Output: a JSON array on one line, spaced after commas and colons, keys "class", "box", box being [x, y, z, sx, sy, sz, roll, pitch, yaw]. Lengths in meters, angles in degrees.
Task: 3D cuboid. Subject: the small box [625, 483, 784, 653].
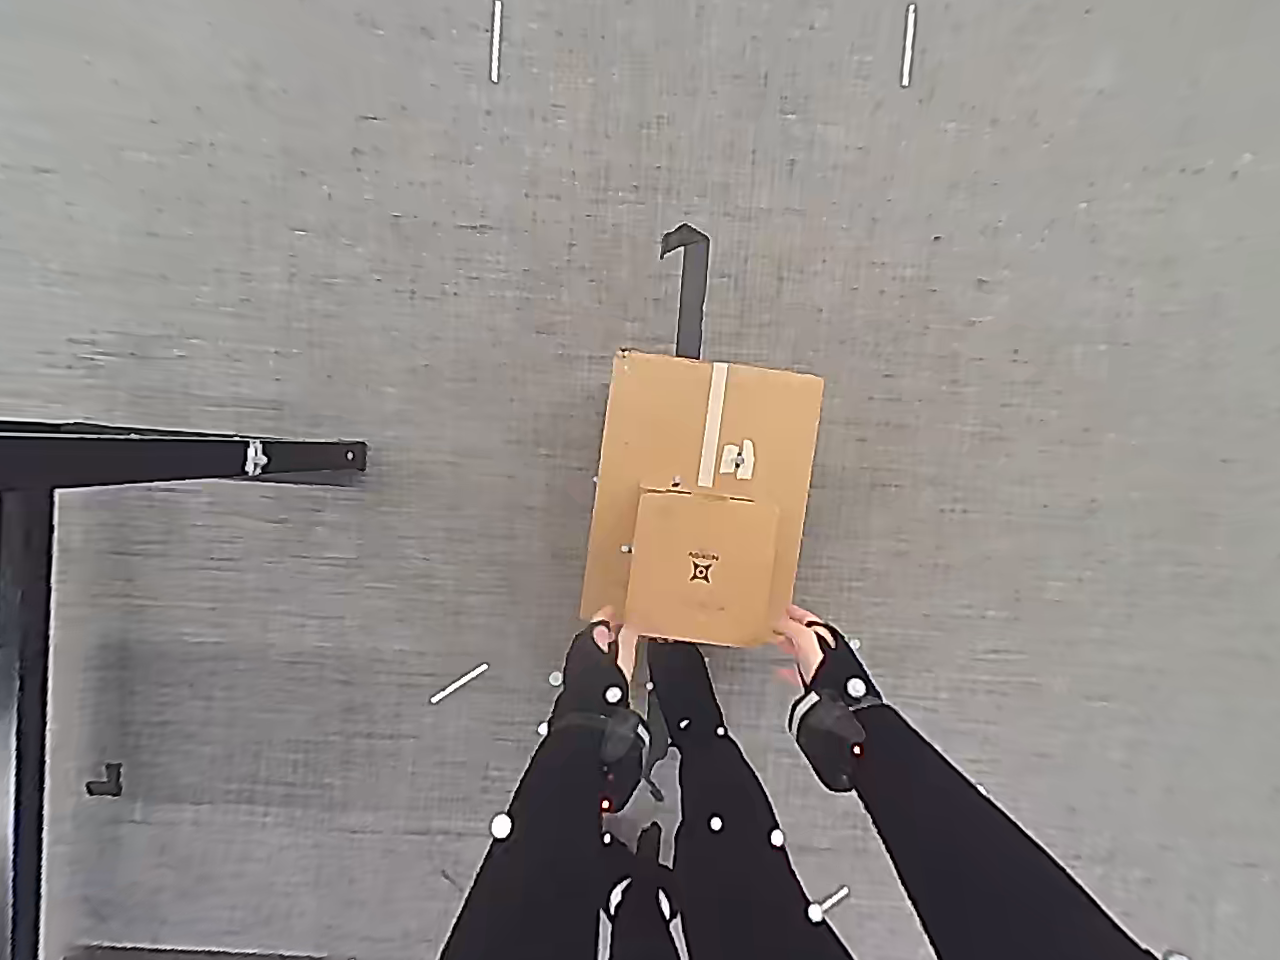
[{"class": "small box", "box": [0.074, 0.100, 0.700, 0.168, 0.176, 0.179, 7, 93, 1]}]

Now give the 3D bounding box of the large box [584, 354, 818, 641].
[{"class": "large box", "box": [0.088, 0.027, 0.943, 0.320, 0.320, 0.408, 7, 91, -2]}]
